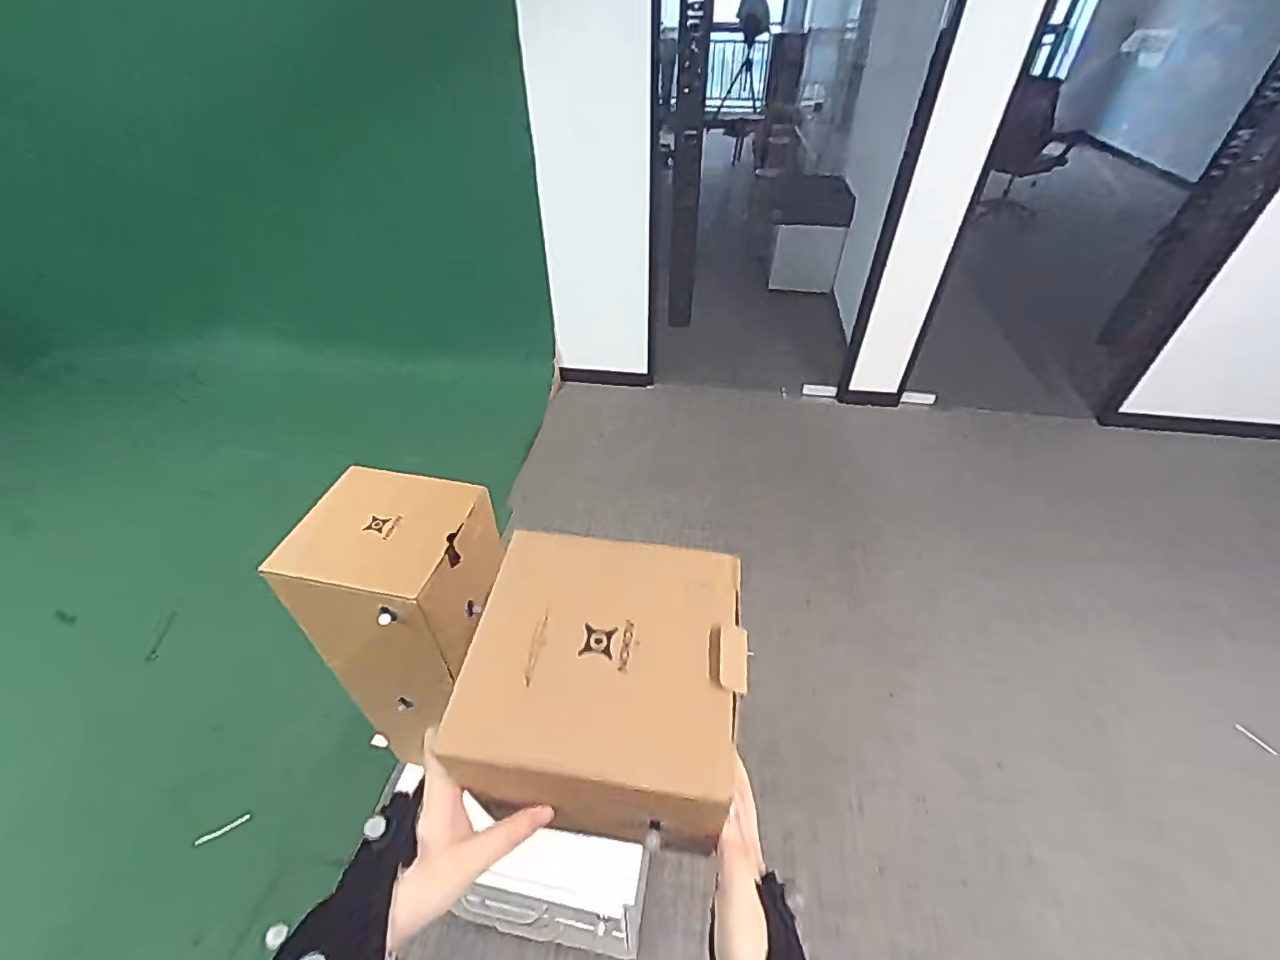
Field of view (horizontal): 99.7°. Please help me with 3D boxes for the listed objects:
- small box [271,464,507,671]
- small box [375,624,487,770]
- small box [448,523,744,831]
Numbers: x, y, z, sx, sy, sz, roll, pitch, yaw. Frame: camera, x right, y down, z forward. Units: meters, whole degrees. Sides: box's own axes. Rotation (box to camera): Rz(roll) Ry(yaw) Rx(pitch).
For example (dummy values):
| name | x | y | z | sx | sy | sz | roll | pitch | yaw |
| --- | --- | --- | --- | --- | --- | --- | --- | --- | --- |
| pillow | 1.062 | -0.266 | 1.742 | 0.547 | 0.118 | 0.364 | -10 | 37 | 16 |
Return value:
| name | x | y | z | sx | sy | sz | roll | pitch | yaw |
| --- | --- | --- | --- | --- | --- | --- | --- | --- | --- |
| small box | -0.277 | 0.105 | 0.646 | 0.179 | 0.176 | 0.168 | 9 | 43 | 7 |
| small box | -0.281 | 0.344 | 0.870 | 0.179 | 0.176 | 0.168 | 10 | 44 | 6 |
| small box | -0.017 | 0.157 | 0.425 | 0.179 | 0.176 | 0.168 | 5 | 47 | 6 |
